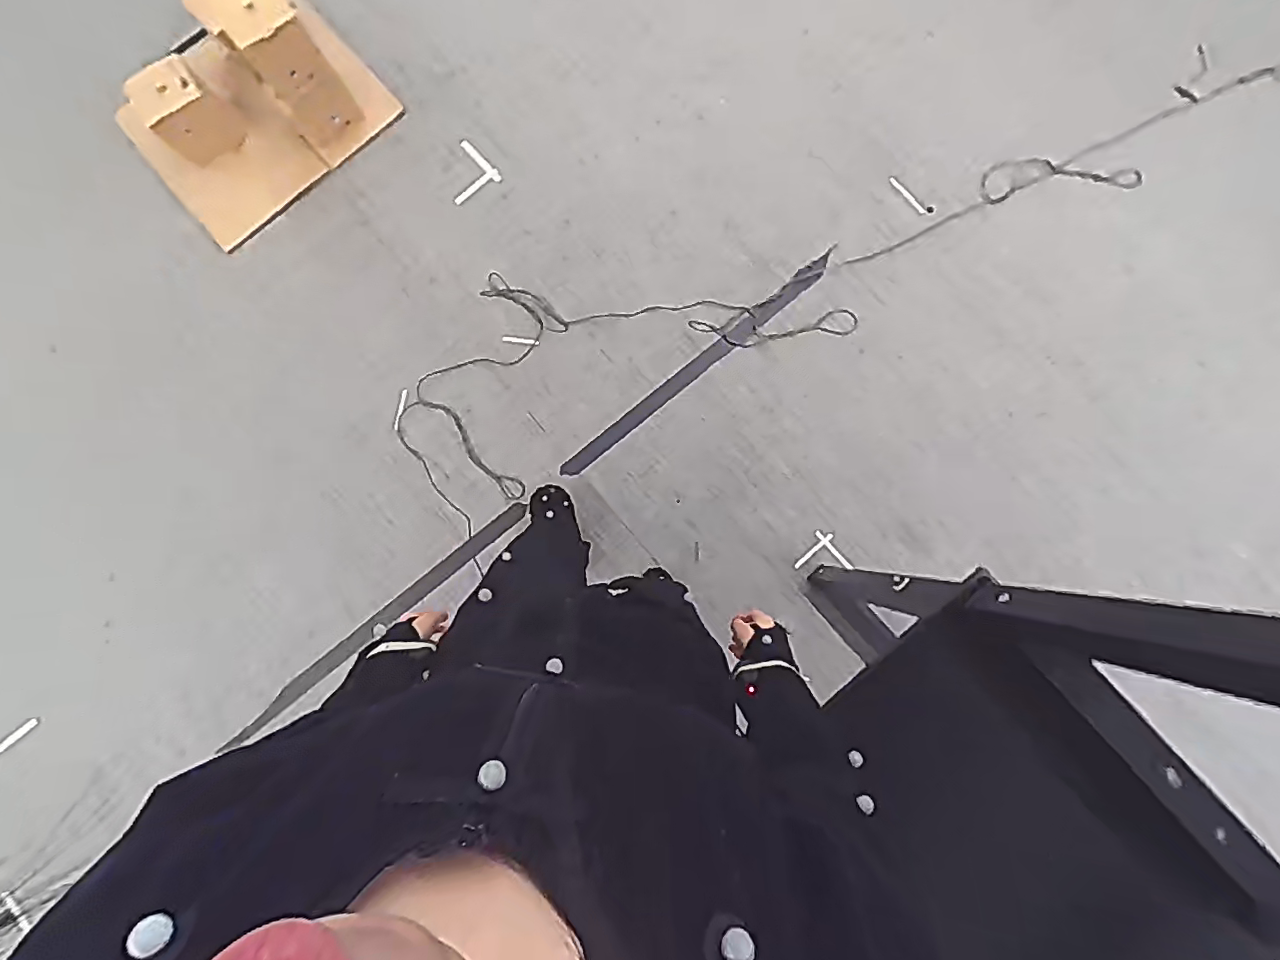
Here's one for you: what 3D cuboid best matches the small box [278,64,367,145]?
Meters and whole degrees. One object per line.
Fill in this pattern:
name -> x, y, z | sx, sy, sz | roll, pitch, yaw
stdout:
small box -> -0.948, -1.135, 1.579 | 0.168, 0.176, 0.179 | -41, 85, -3

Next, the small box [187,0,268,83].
small box -> -1.168, -1.350, 1.610 | 0.168, 0.176, 0.179 | 44, 86, 7

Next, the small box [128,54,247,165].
small box -> -1.309, -1.069, 1.576 | 0.179, 0.176, 0.168 | -32, 84, -1

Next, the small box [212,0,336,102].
small box -> -0.949, -1.154, 1.417 | 0.168, 0.176, 0.179 | -37, 85, -3
